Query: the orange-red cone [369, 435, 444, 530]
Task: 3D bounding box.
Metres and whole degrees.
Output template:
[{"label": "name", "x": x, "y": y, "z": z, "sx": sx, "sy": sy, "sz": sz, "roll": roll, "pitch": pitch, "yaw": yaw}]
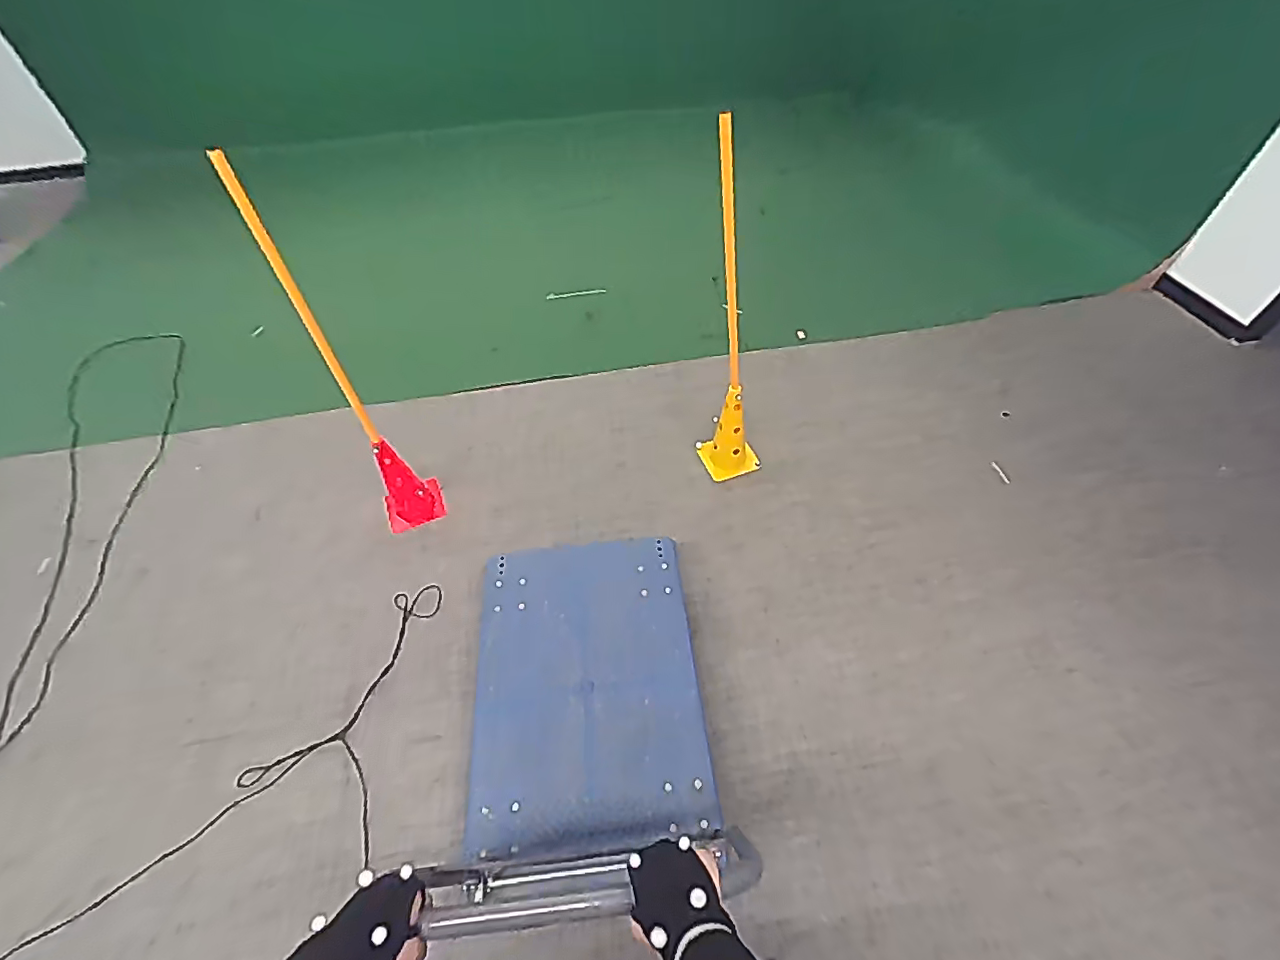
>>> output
[{"label": "orange-red cone", "x": -0.839, "y": -0.021, "z": 1.857, "sx": 0.199, "sy": 0.360, "sz": 0.198, "roll": -21, "pitch": 53, "yaw": -12}]
